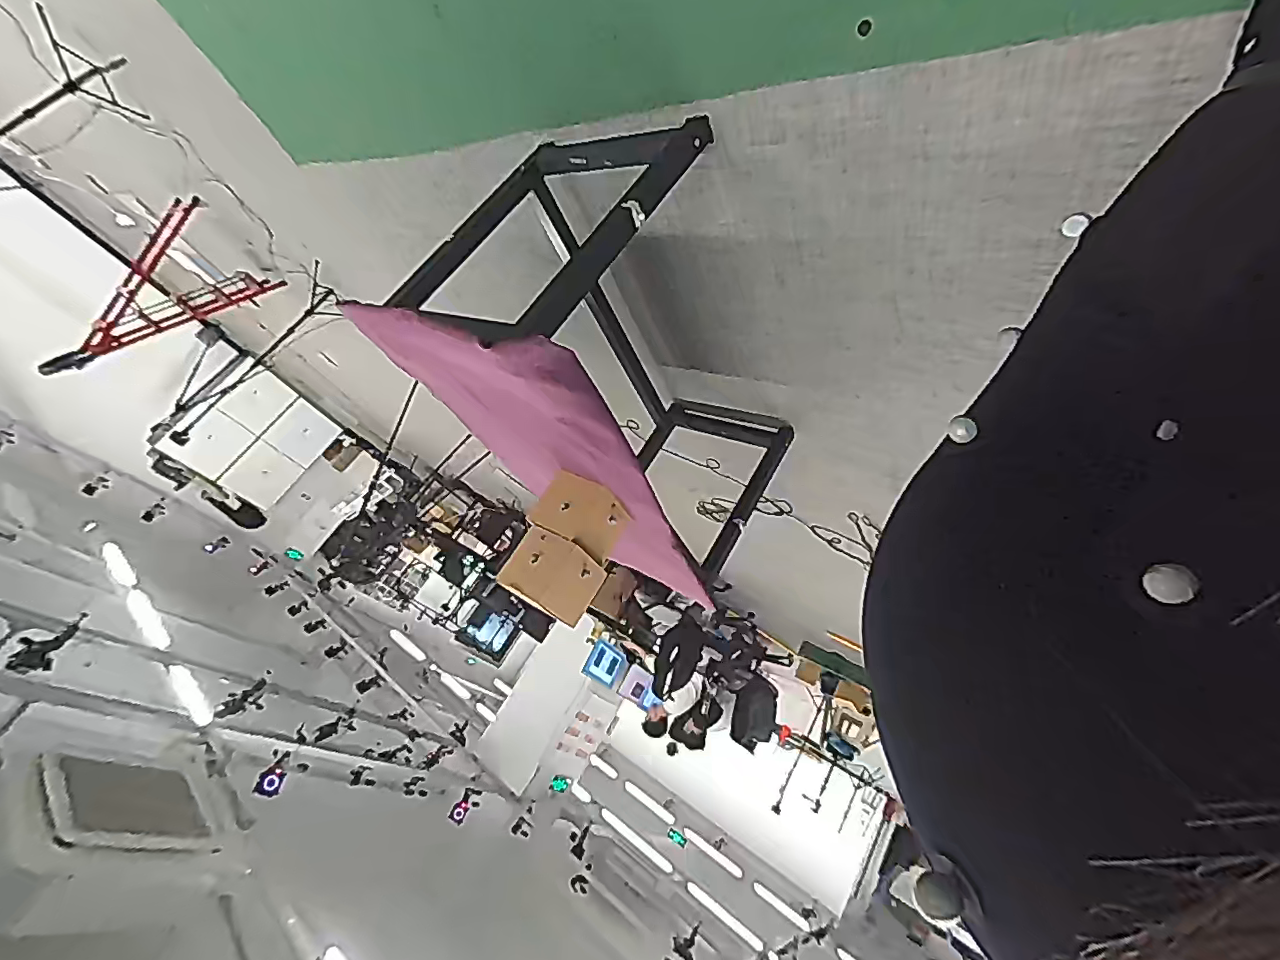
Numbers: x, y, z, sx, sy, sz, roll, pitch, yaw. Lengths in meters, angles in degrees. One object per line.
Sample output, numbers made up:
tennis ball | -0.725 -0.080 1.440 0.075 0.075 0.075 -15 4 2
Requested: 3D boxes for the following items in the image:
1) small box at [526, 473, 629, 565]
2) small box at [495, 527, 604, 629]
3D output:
small box | -0.161 0.102 1.431 0.179 0.176 0.168 20 157 35
small box | -0.223 0.242 1.368 0.168 0.176 0.179 18 156 38
